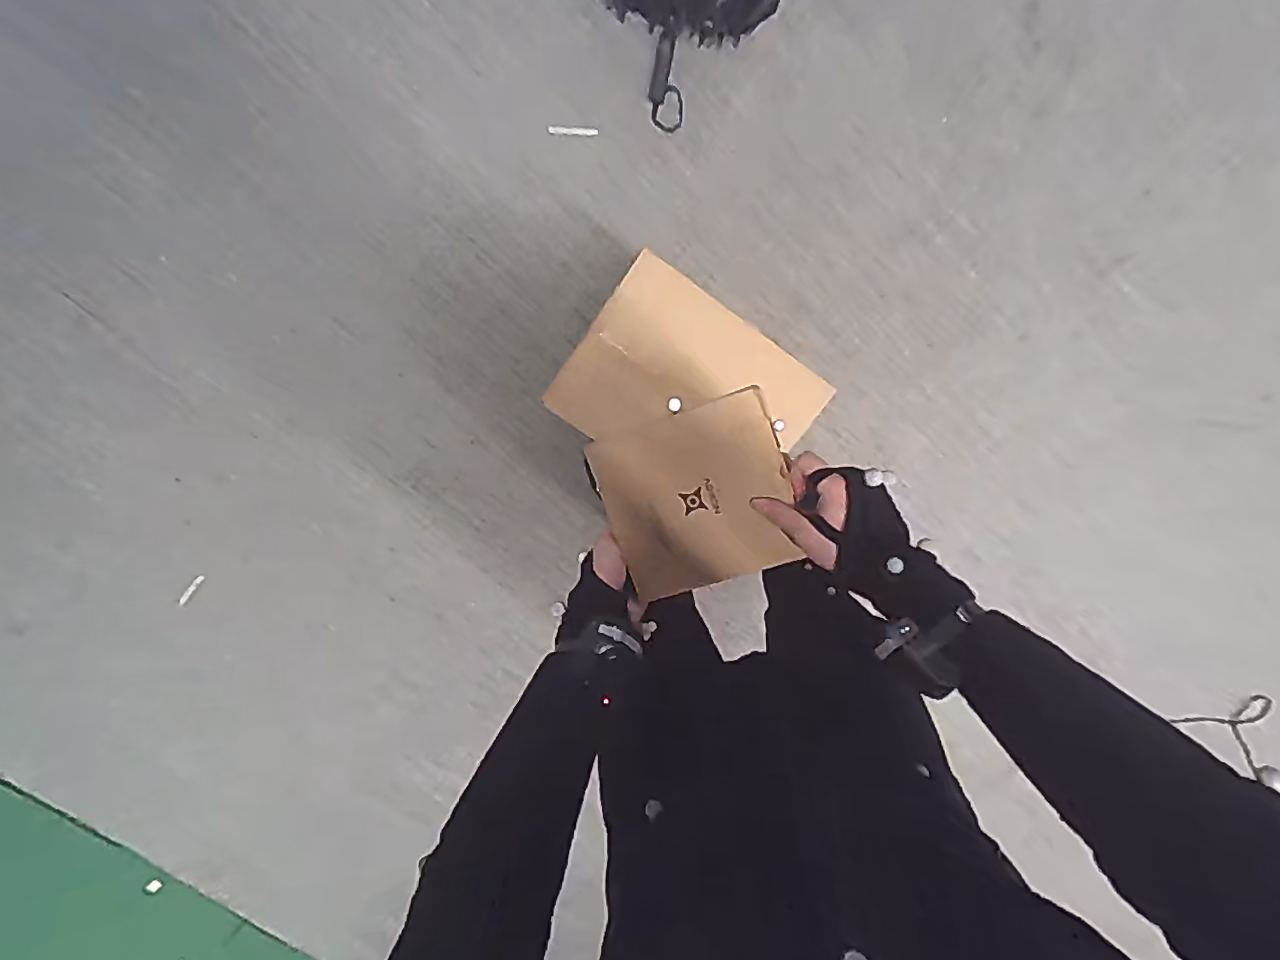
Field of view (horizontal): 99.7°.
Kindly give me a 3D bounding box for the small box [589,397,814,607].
[{"bbox_3d":[0.070,0.013,0.590,0.179,0.176,0.168,-19,94,14],"label":"small box"}]
